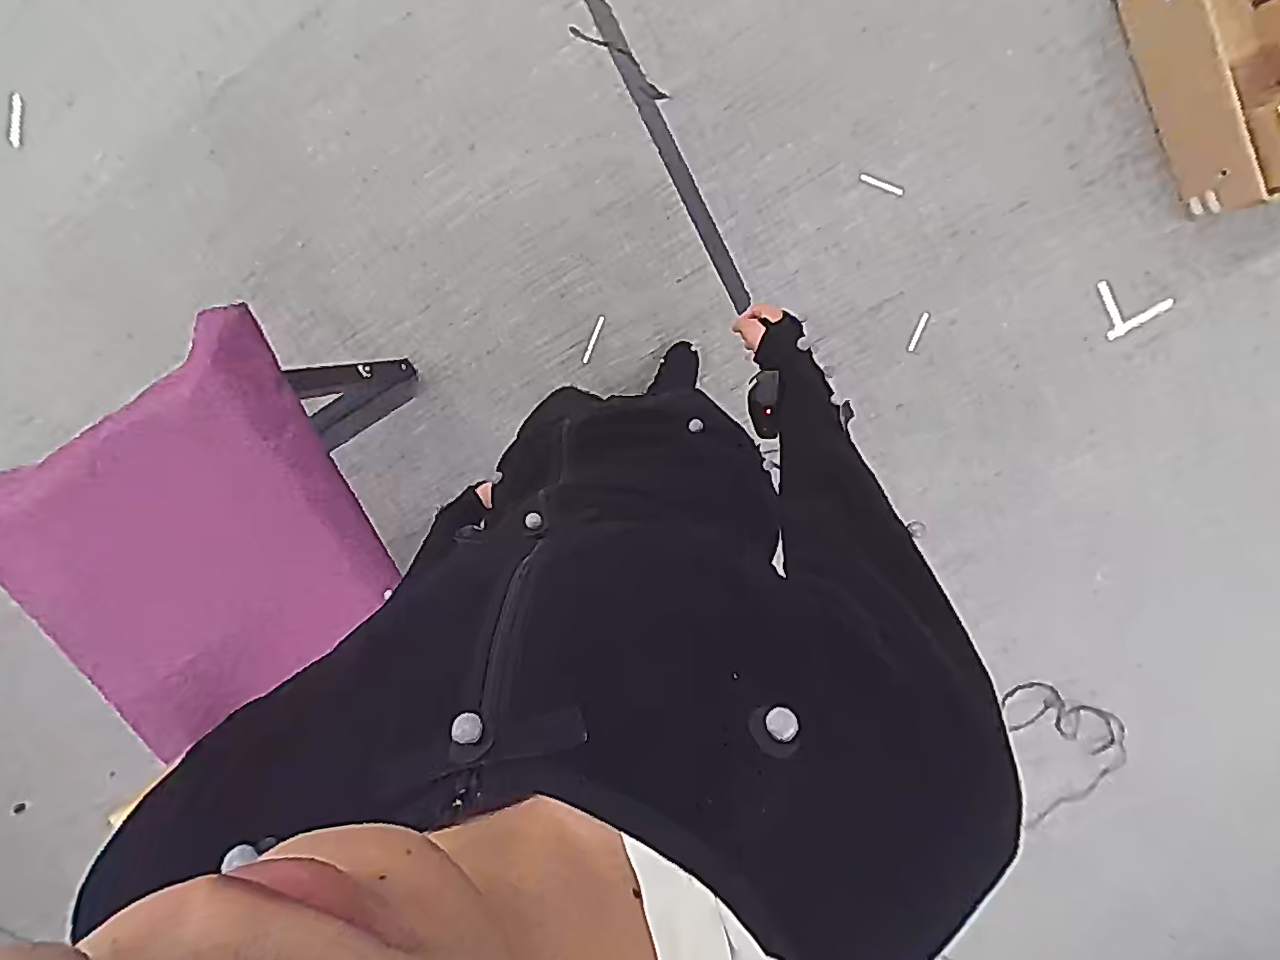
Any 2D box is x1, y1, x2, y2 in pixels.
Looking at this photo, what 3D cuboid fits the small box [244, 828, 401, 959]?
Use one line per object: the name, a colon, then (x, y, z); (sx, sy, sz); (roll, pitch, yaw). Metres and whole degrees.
small box: (-0.594, 0.818, 1.044); (0.179, 0.176, 0.168); (-22, 102, 8)
